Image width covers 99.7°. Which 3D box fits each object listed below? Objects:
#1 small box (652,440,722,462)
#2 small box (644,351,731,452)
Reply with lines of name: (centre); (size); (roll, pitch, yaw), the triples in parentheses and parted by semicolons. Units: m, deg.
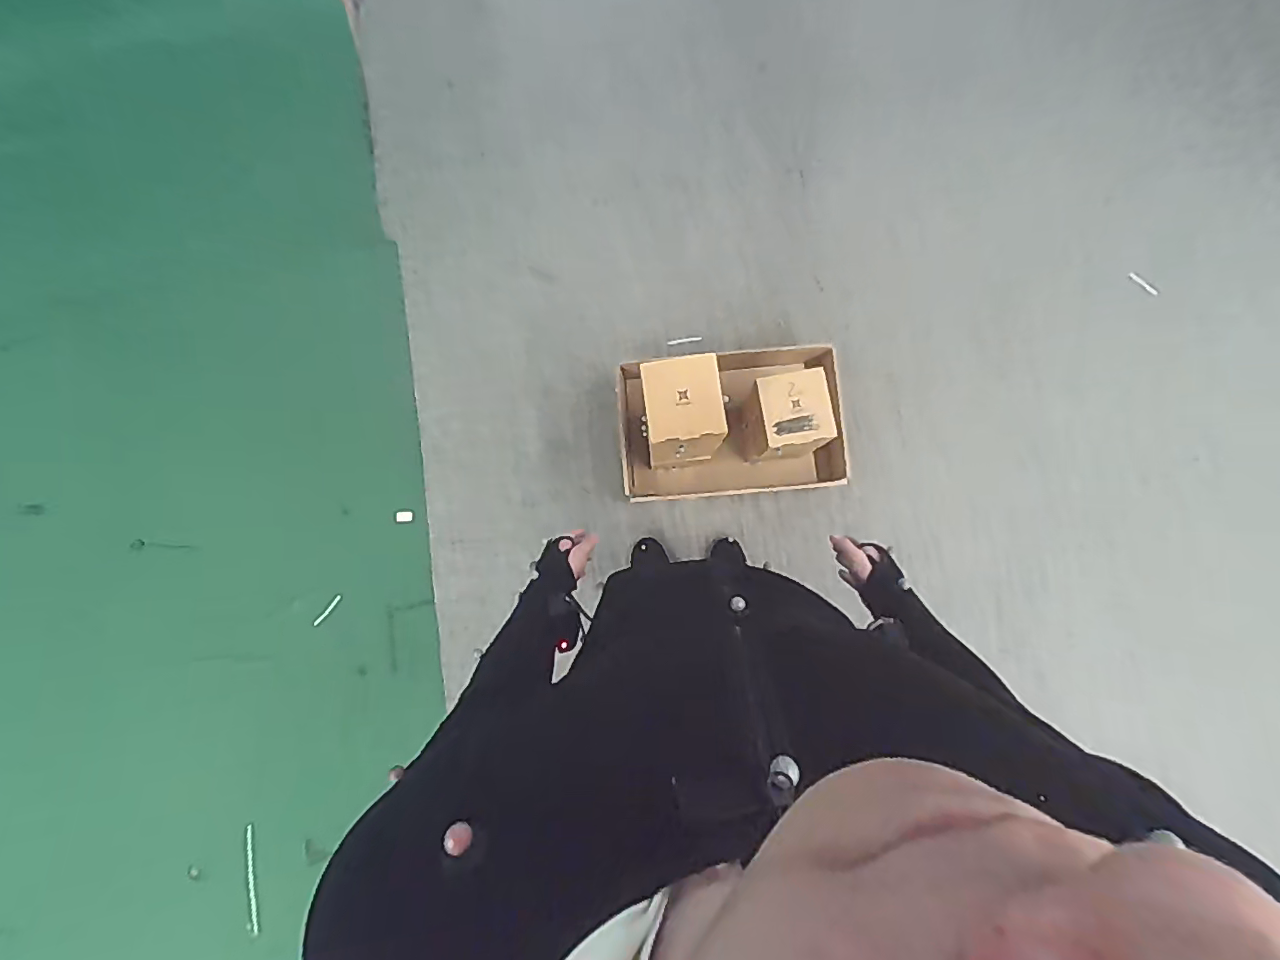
small box: (0.108, -0.152, 1.369); (0.168, 0.176, 0.179); (-7, 83, 3)
small box: (0.100, -0.169, 1.207); (0.168, 0.176, 0.179); (-8, 85, 2)
